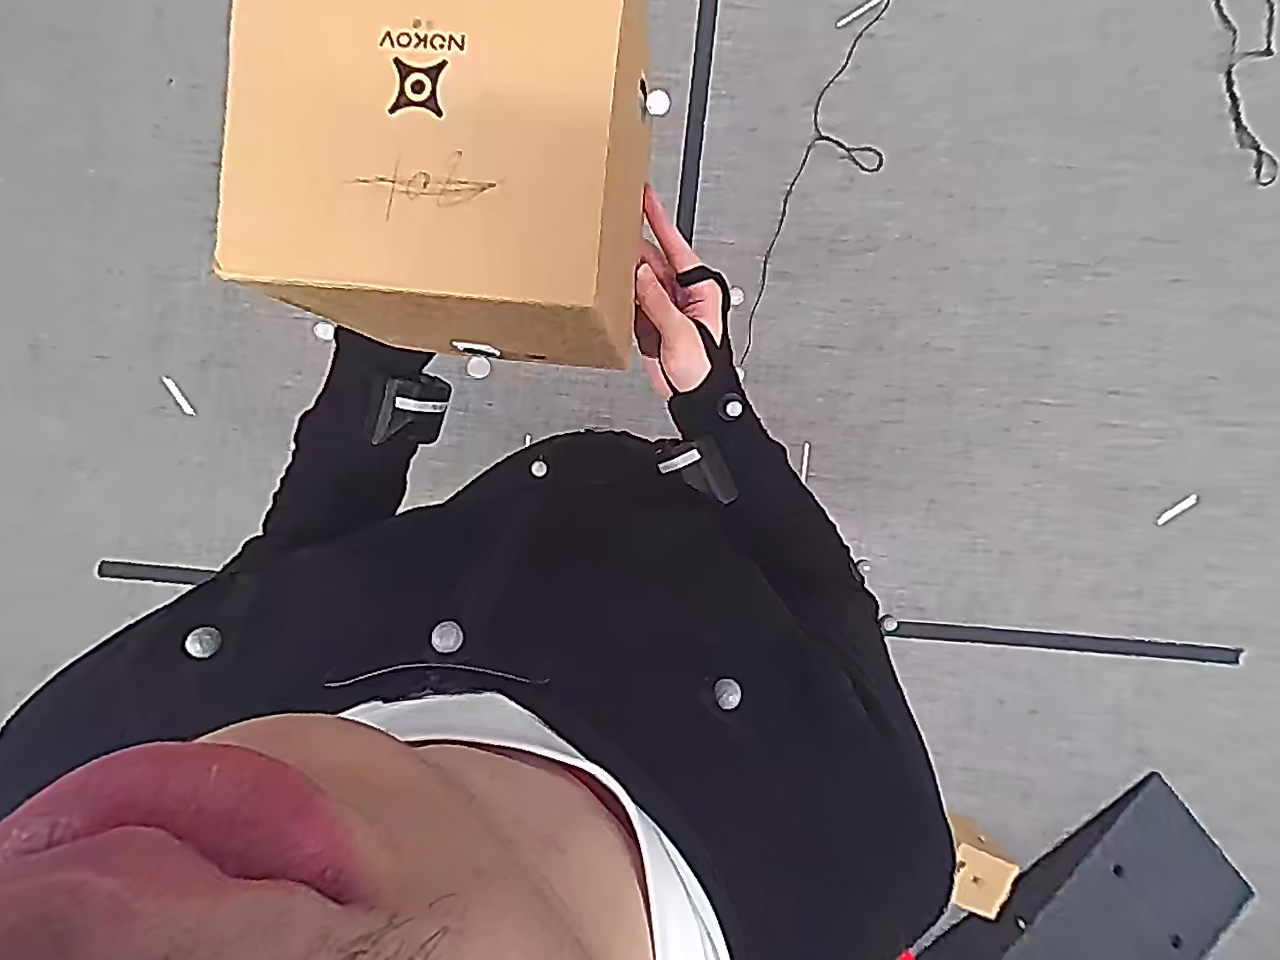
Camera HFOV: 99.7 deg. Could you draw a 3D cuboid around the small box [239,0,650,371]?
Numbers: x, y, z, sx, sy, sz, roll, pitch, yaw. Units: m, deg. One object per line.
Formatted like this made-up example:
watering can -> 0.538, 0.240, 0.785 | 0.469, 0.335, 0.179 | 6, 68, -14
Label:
small box -> -0.085, -0.169, 0.314 | 0.168, 0.176, 0.179 | 5, 93, 5
